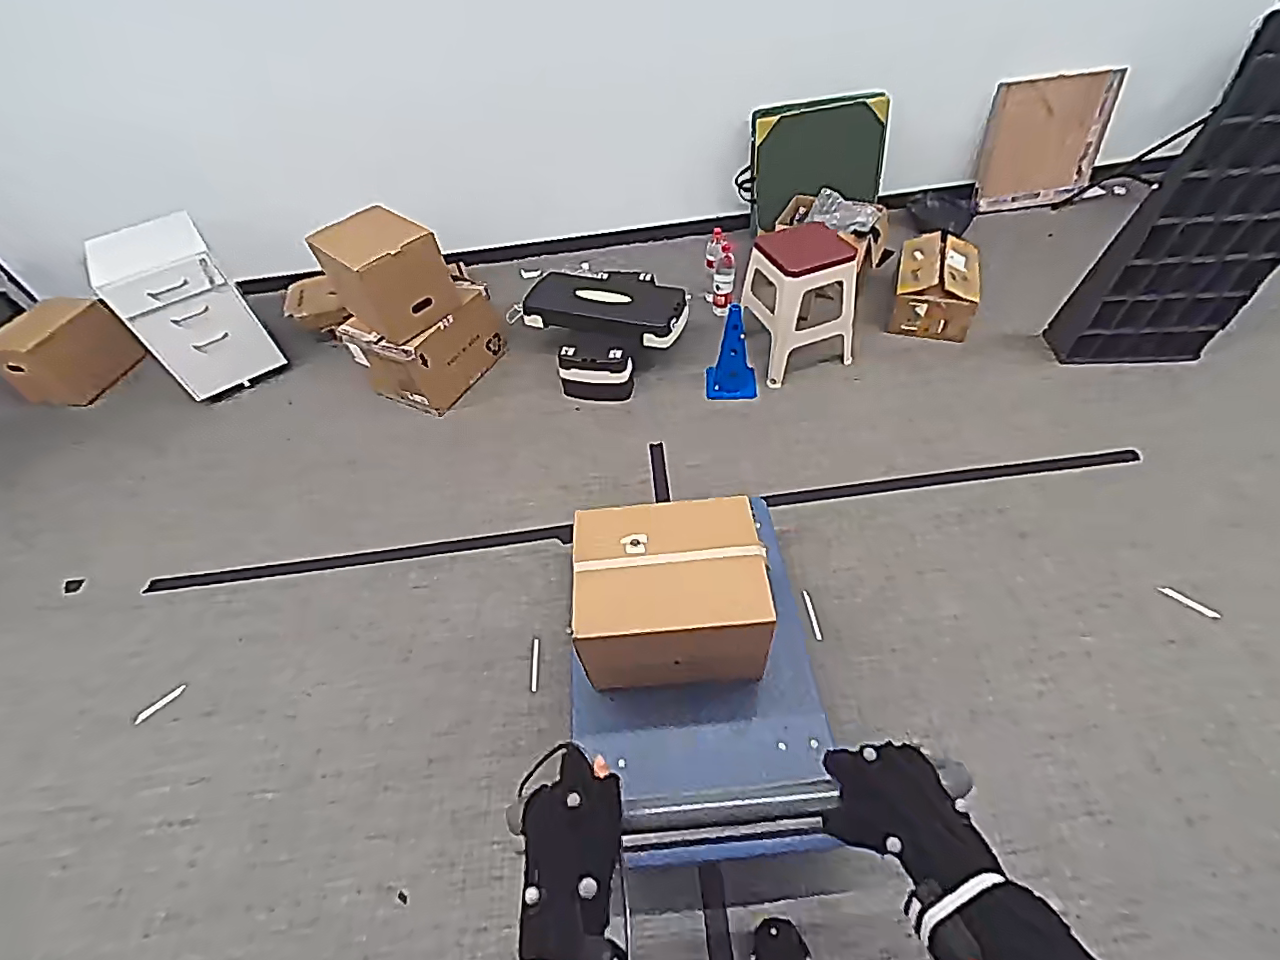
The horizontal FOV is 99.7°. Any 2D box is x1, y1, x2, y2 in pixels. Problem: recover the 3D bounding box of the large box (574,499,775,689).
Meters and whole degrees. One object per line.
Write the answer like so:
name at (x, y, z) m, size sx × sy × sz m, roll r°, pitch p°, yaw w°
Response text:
large box at (0.072, 0.275, 1.266) m, size 0.408 × 0.320 × 0.320 m, roll -6°, pitch 50°, yaw 2°
